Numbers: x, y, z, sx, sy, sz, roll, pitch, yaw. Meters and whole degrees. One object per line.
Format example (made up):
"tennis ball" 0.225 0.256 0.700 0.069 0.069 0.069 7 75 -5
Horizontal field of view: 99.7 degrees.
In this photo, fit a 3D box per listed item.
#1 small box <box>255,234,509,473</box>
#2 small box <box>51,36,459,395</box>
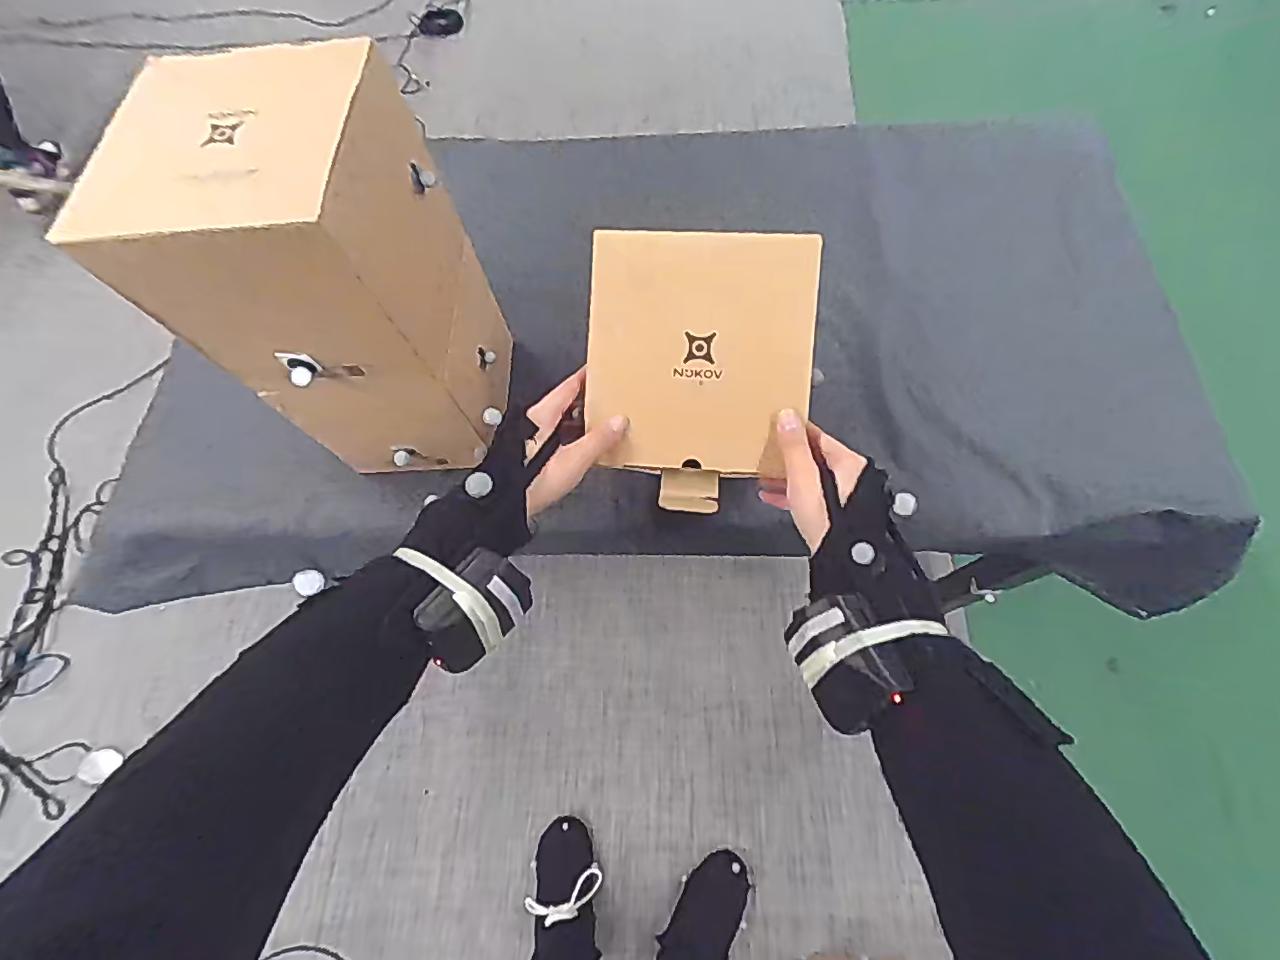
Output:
"small box" -0.241 -0.121 0.558 0.168 0.176 0.179 -3 67 3
"small box" -0.251 -0.185 0.409 0.168 0.176 0.179 -4 67 4
